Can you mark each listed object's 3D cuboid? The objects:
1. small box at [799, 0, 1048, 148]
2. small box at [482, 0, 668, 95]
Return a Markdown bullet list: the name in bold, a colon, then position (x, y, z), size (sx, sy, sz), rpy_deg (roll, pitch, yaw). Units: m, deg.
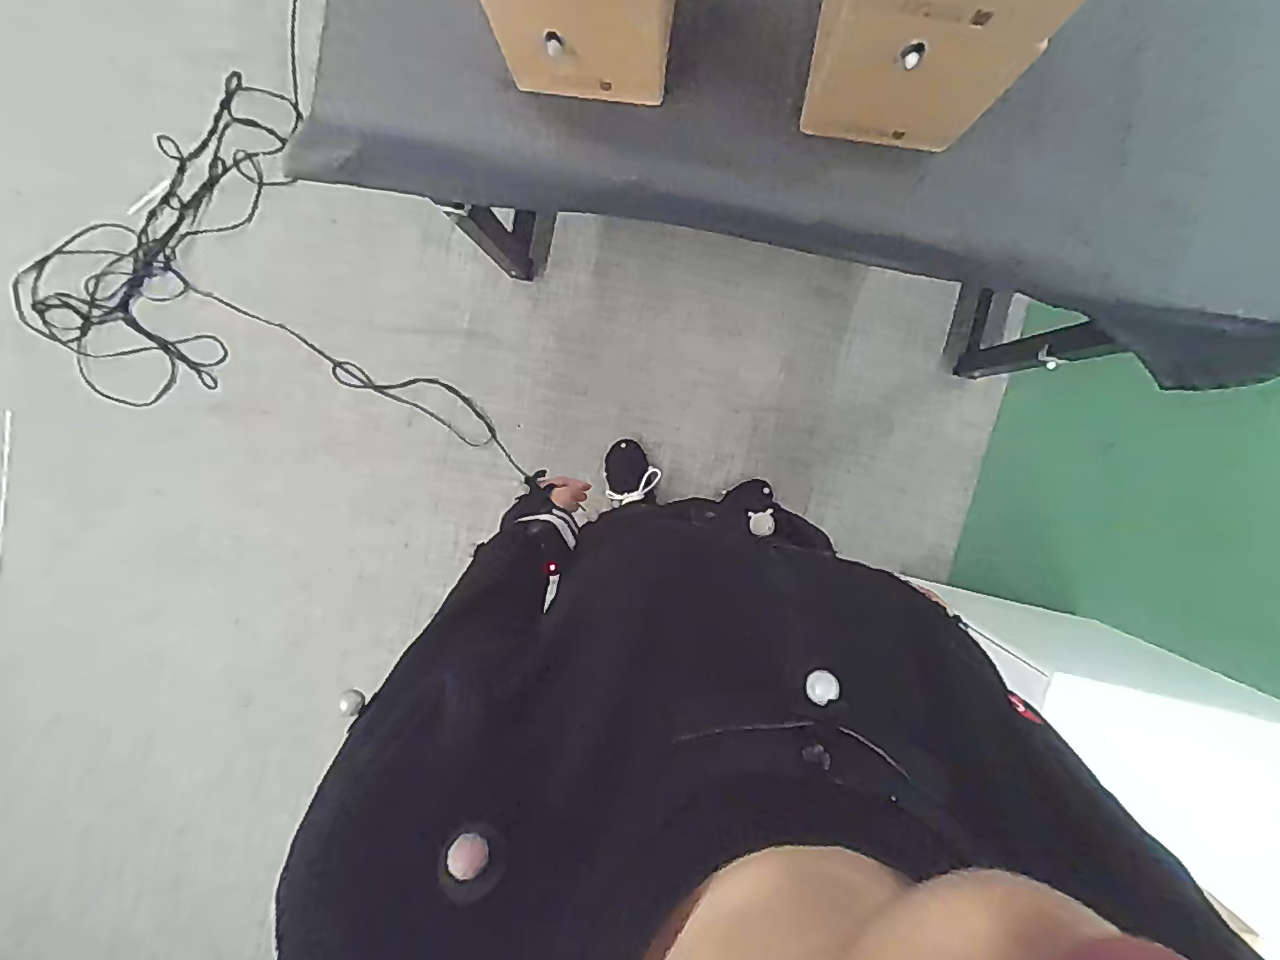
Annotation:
- **small box**: position (0.264, -0.461, 0.516), size (0.168, 0.176, 0.179), rpy_deg (9, 95, 1)
- **small box**: position (-0.055, -0.515, 0.522), size (0.168, 0.176, 0.179), rpy_deg (8, 95, 1)
